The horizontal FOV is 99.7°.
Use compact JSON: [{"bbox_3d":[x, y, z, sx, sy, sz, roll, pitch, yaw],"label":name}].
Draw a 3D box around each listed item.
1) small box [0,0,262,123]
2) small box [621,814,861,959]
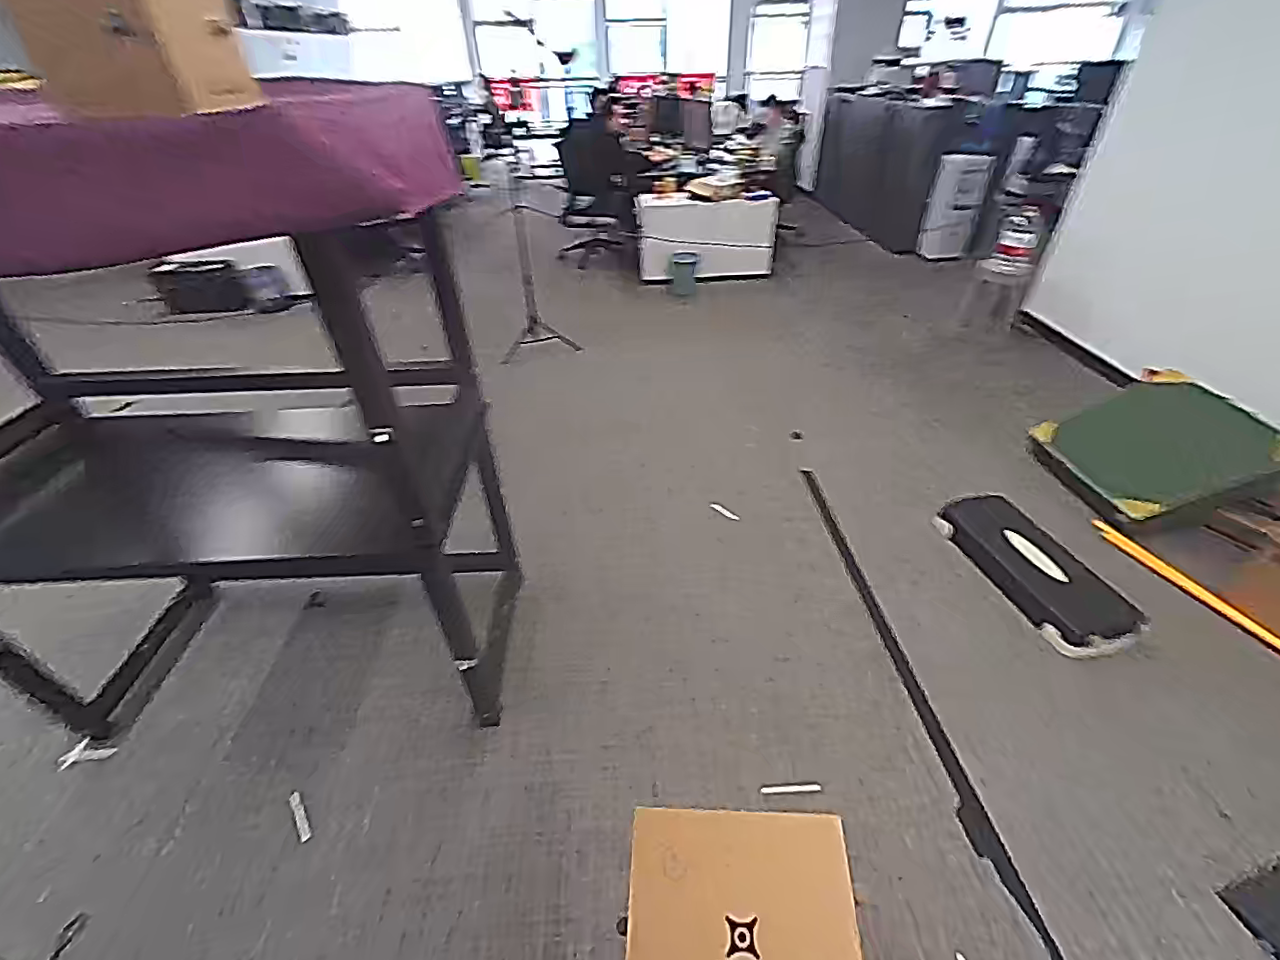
[{"bbox_3d":[-0.634,-0.564,0.684,0.179,0.176,0.168,-2,37,2],"label":"small box"},{"bbox_3d":[0.077,0.380,0.426,0.168,0.176,0.179,-4,49,7],"label":"small box"}]
